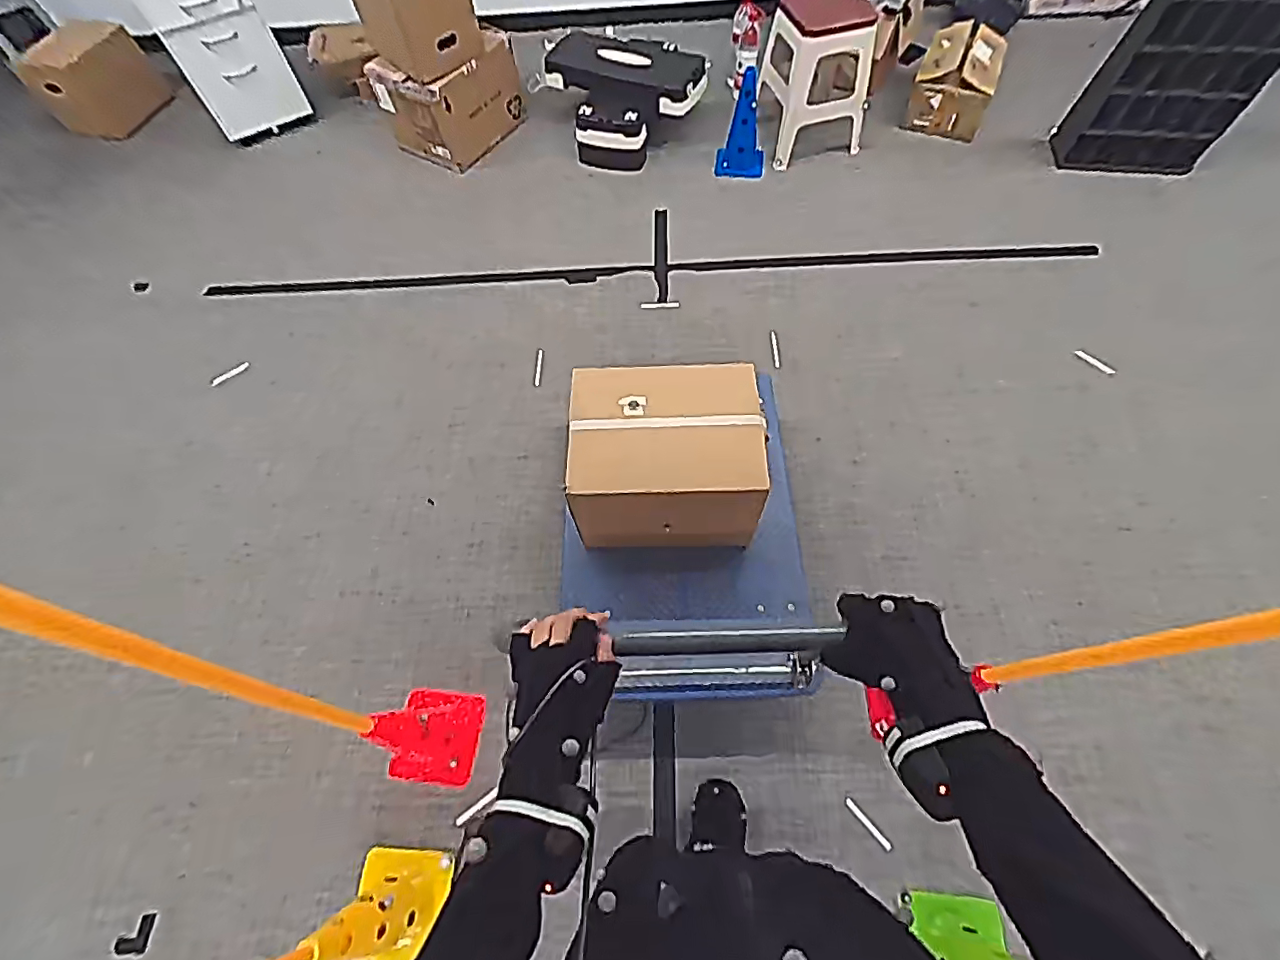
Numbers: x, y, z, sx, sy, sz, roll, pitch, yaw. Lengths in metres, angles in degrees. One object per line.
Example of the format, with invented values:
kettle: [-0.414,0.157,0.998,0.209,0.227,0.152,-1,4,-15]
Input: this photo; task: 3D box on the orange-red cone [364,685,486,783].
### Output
orange-red cone: [-0.491,0.525,1.154,0.198,0.360,0.199,6,61,5]

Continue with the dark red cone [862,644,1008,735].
dark red cone: [0.638,0.416,1.133,0.201,0.394,0.202,0,62,1]

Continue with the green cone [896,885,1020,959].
green cone: [0.617,0.853,0.921,0.202,0.368,0.200,3,62,3]

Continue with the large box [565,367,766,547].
large box: [0.056,-0.039,1.262,0.408,0.320,0.320,-2,63,3]
